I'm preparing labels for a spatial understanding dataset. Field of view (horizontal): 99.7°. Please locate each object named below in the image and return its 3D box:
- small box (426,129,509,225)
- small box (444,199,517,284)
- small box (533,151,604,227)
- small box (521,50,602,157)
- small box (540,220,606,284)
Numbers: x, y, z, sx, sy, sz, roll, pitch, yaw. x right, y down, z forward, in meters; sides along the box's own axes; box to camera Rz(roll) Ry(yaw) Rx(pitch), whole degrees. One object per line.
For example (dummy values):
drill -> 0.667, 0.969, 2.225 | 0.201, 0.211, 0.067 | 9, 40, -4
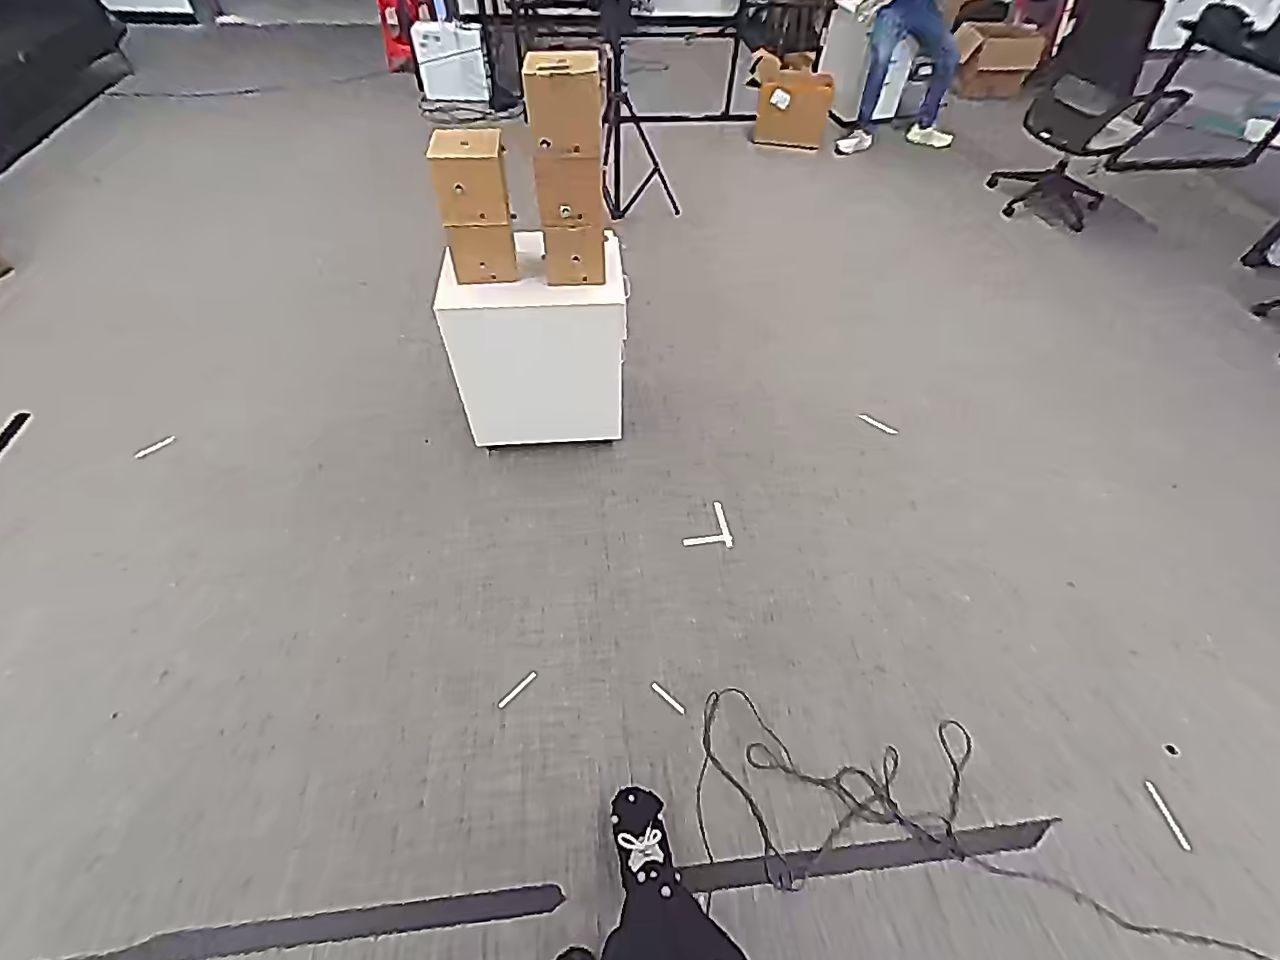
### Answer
small box -> -0.430, -0.768, 1.378 | 0.168, 0.176, 0.179 | -4, 52, -6
small box -> -0.438, -0.670, 1.508 | 0.168, 0.176, 0.179 | -5, 53, -6
small box -> -0.180, -0.776, 1.394 | 0.168, 0.176, 0.179 | -4, 53, -3
small box -> -0.176, -0.875, 1.263 | 0.168, 0.176, 0.179 | -2, 50, -2
small box -> -0.183, -0.668, 1.517 | 0.168, 0.176, 0.179 | -4, 53, -3
